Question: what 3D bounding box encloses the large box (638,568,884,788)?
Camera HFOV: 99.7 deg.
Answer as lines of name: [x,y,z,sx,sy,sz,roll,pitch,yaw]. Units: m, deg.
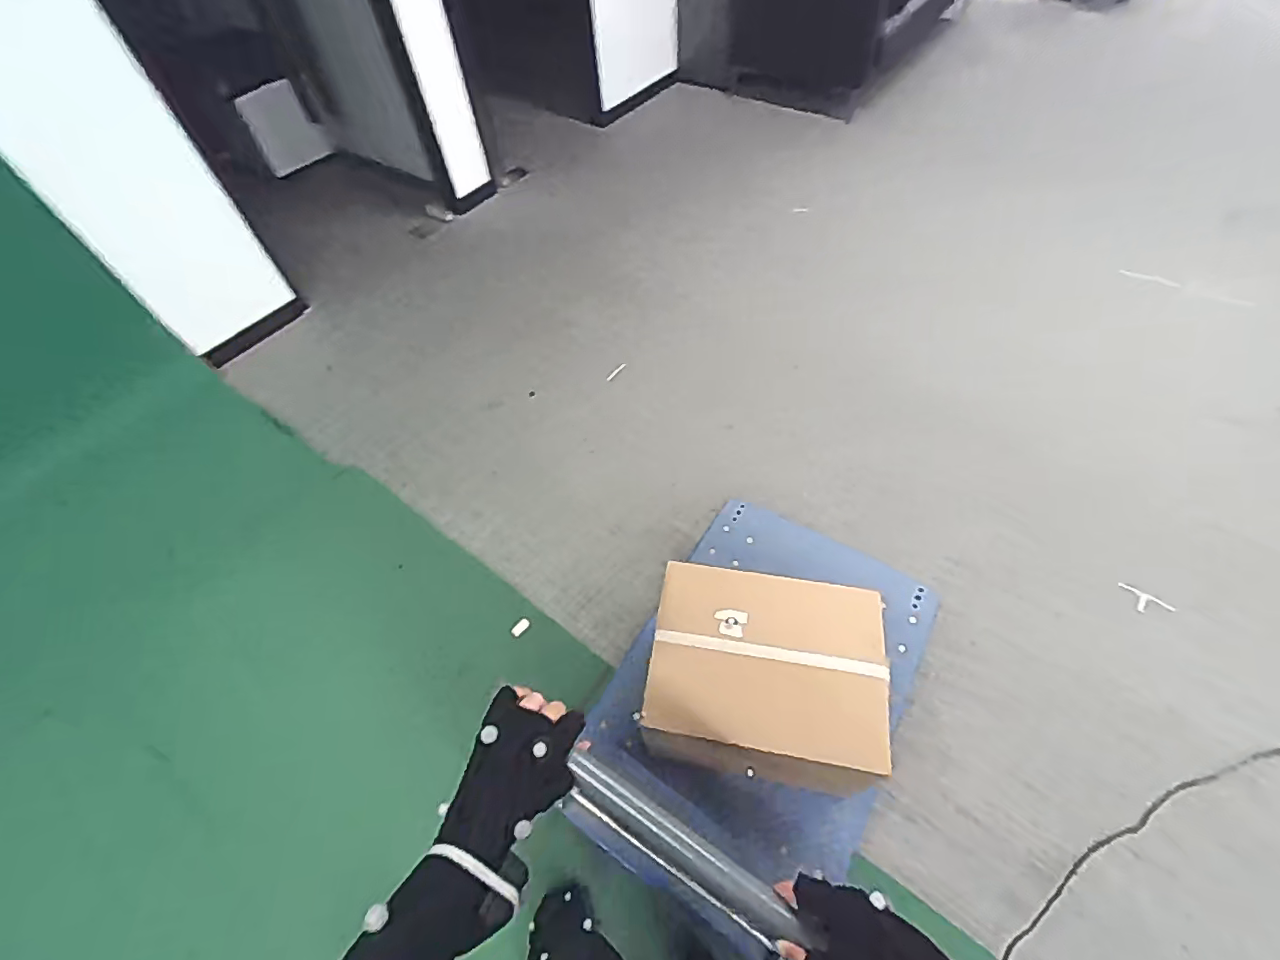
large box: [0.231,0.401,1.086,0.408,0.320,0.320,6,55,10]
